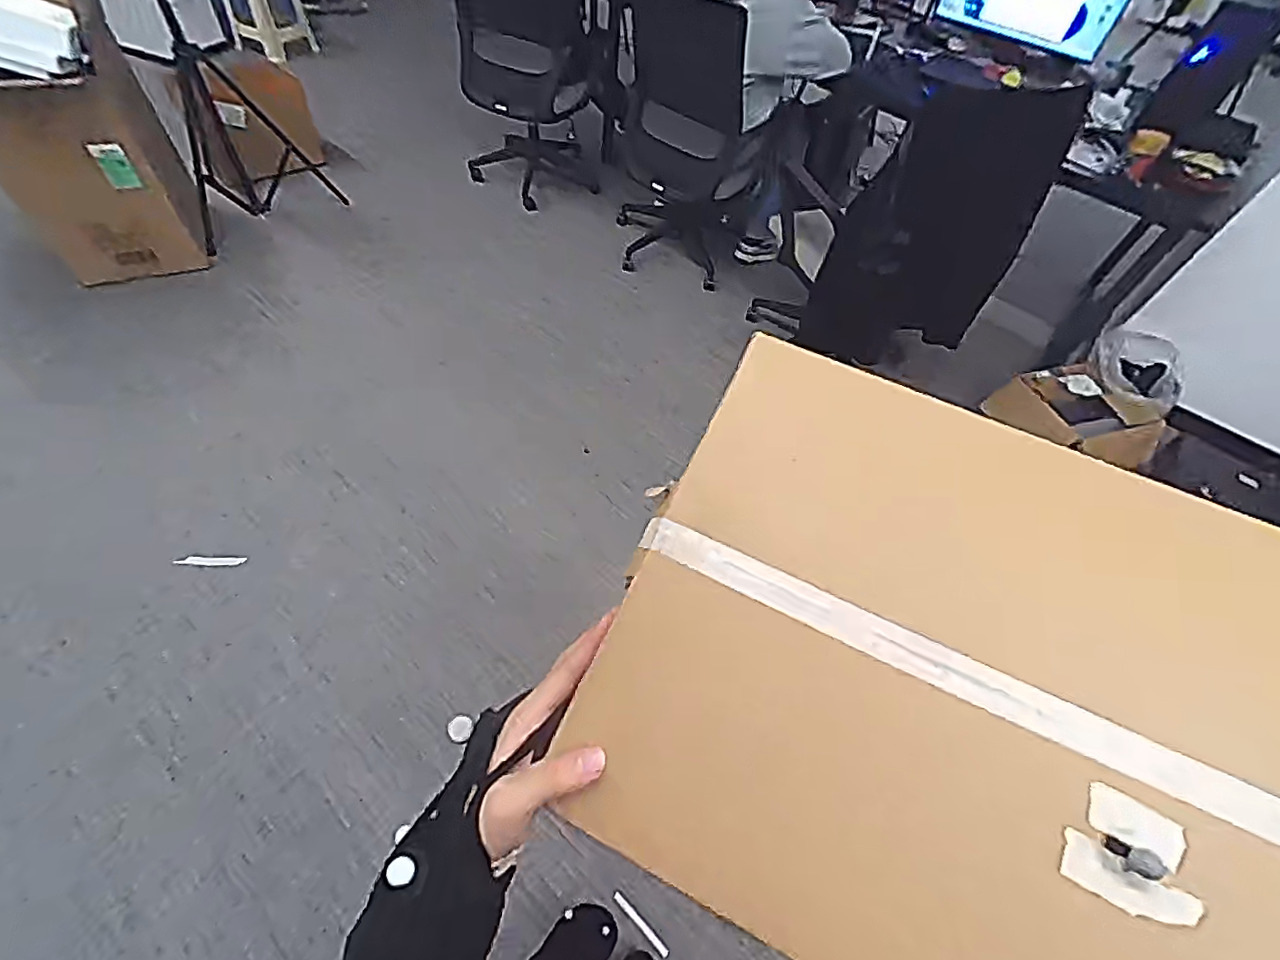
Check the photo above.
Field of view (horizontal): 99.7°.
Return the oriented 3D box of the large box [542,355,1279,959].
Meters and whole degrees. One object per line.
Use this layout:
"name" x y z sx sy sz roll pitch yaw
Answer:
"large box" 0.191 0.166 0.433 0.408 0.320 0.320 23 73 10
